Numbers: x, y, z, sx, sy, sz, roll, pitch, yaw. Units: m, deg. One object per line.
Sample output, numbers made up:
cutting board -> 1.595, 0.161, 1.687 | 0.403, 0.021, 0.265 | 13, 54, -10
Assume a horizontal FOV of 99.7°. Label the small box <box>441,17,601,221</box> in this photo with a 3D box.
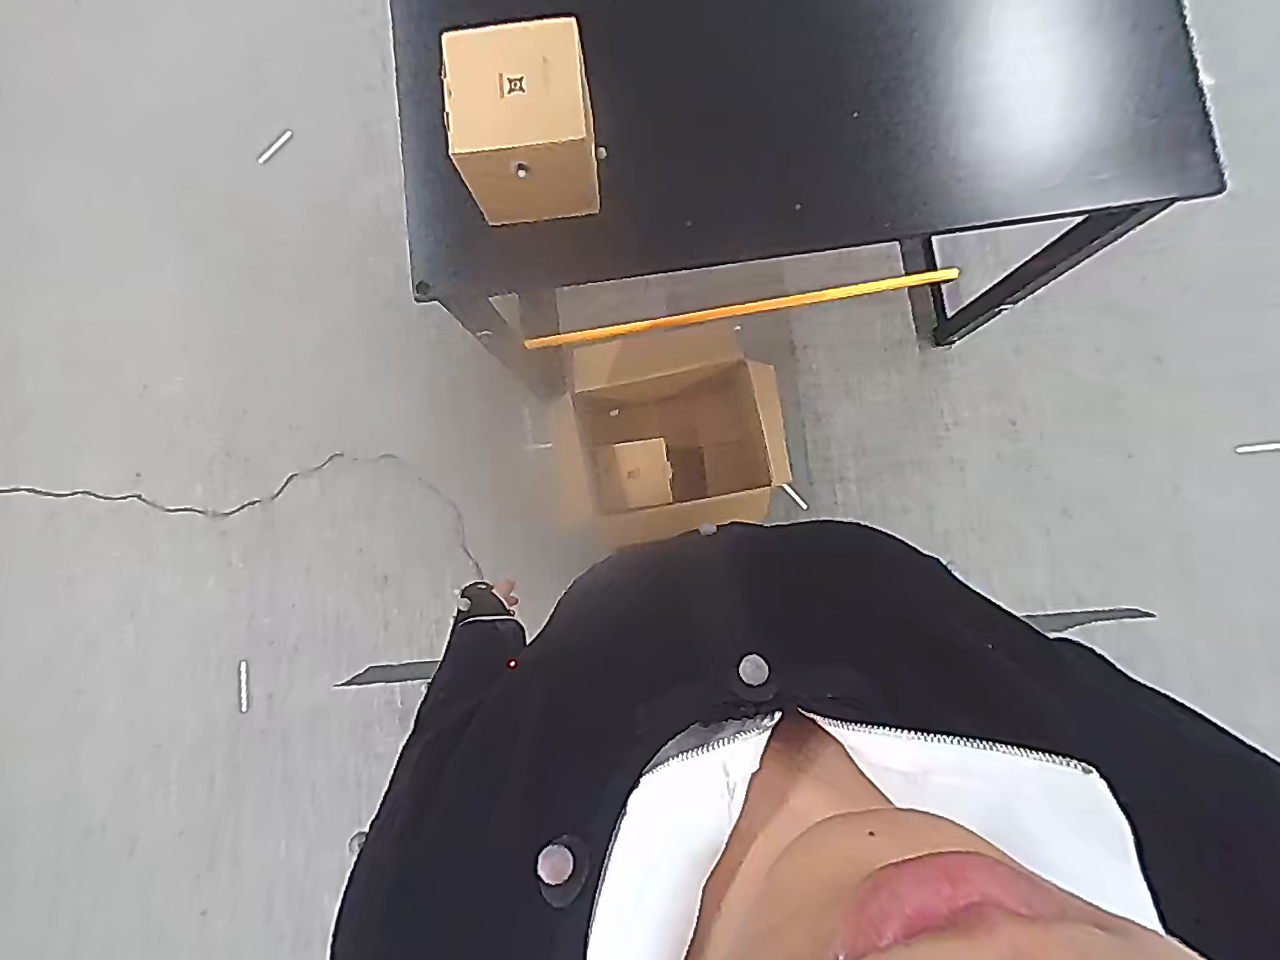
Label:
small box -> -0.156, -0.485, 0.753 | 0.179, 0.176, 0.168 | -6, 86, 1
